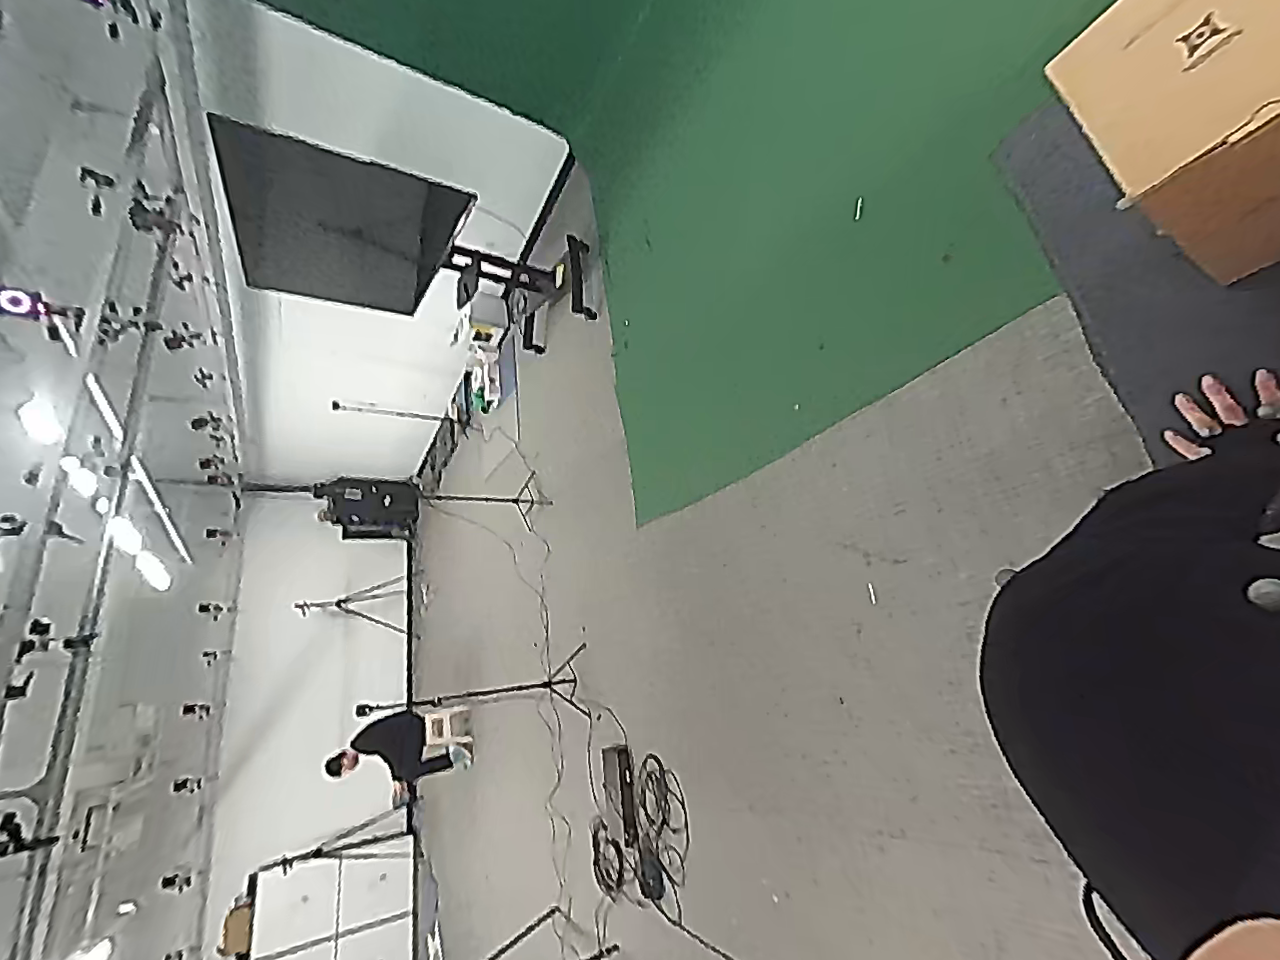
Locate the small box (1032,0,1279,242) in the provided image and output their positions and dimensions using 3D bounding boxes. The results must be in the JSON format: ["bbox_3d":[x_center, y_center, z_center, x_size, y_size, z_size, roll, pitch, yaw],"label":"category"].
[{"bbox_3d":[0.496,-0.335,0.467,0.168,0.176,0.179,-37,54,49],"label":"small box"}]
